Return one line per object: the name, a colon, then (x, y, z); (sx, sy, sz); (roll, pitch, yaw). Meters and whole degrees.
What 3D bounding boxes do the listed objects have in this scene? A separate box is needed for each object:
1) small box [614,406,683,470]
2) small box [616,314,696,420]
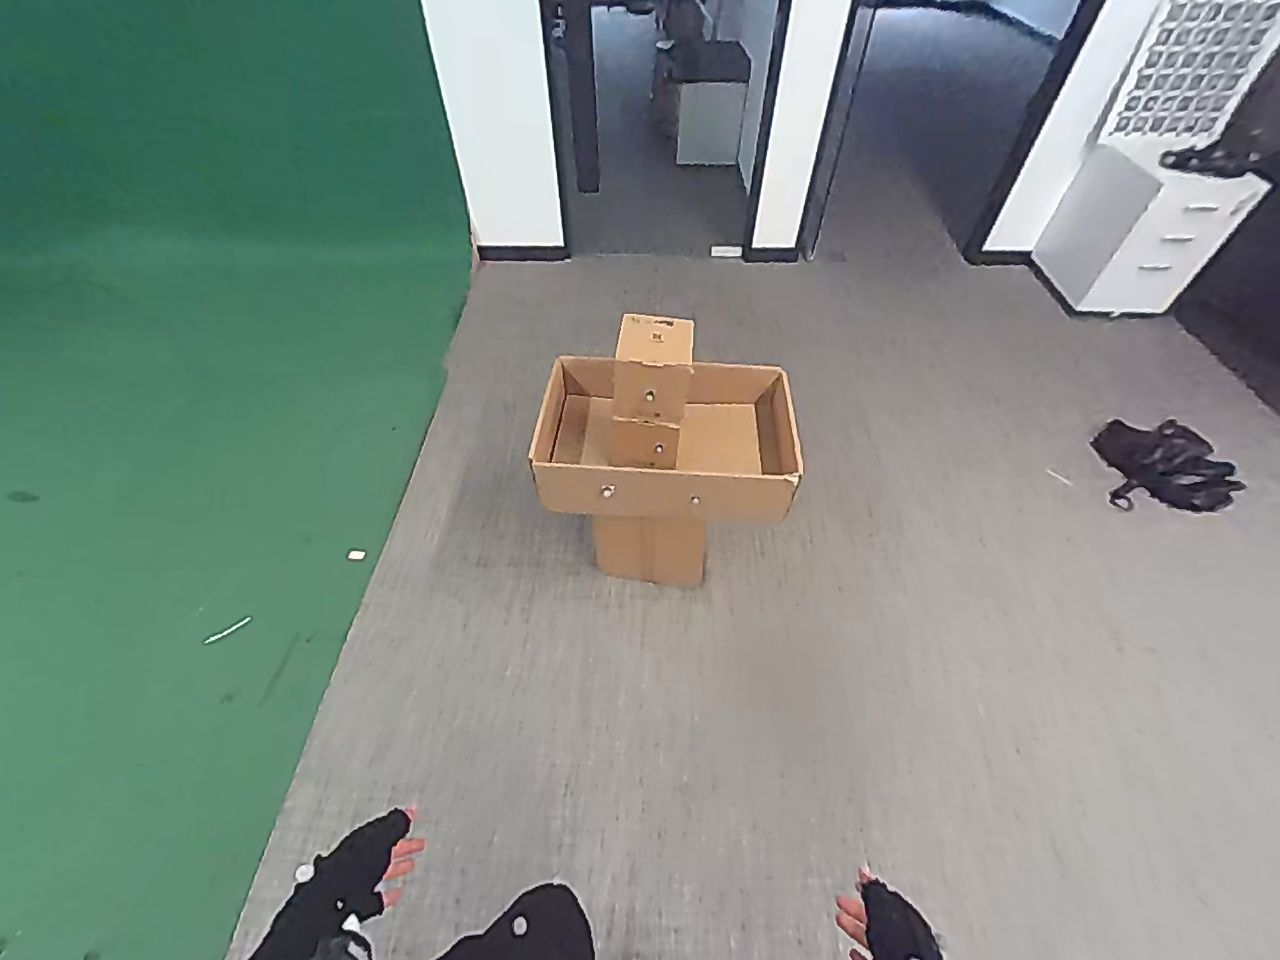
small box: (0.026, -0.145, 1.378); (0.168, 0.176, 0.179); (7, 48, 1)
small box: (0.036, -0.259, 1.259); (0.168, 0.176, 0.179); (7, 51, 1)
